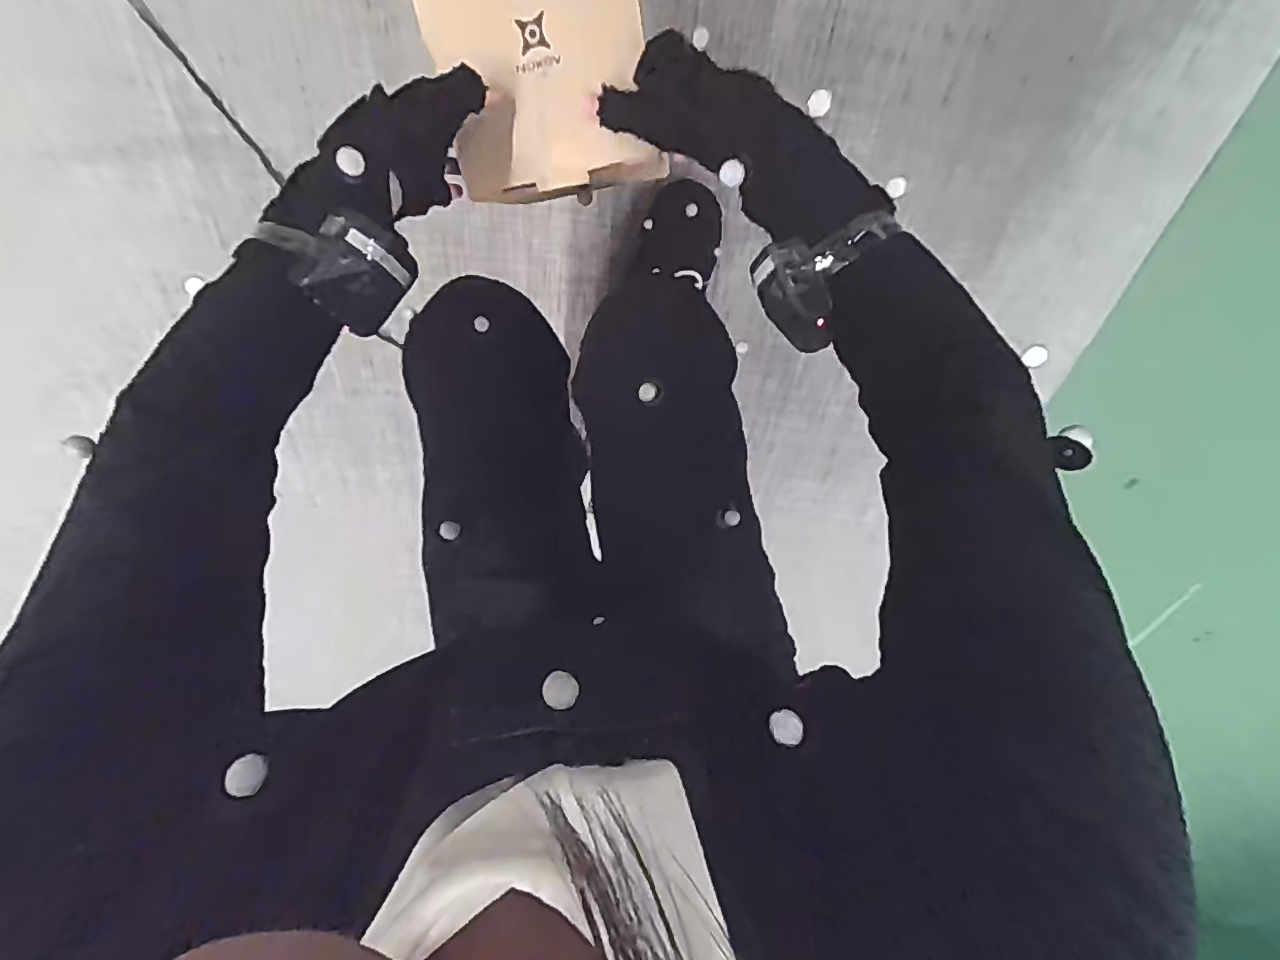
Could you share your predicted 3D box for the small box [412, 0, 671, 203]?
[{"bbox_3d":[-0.069,-0.355,0.472,0.168,0.176,0.179,-8,115,10],"label":"small box"}]
